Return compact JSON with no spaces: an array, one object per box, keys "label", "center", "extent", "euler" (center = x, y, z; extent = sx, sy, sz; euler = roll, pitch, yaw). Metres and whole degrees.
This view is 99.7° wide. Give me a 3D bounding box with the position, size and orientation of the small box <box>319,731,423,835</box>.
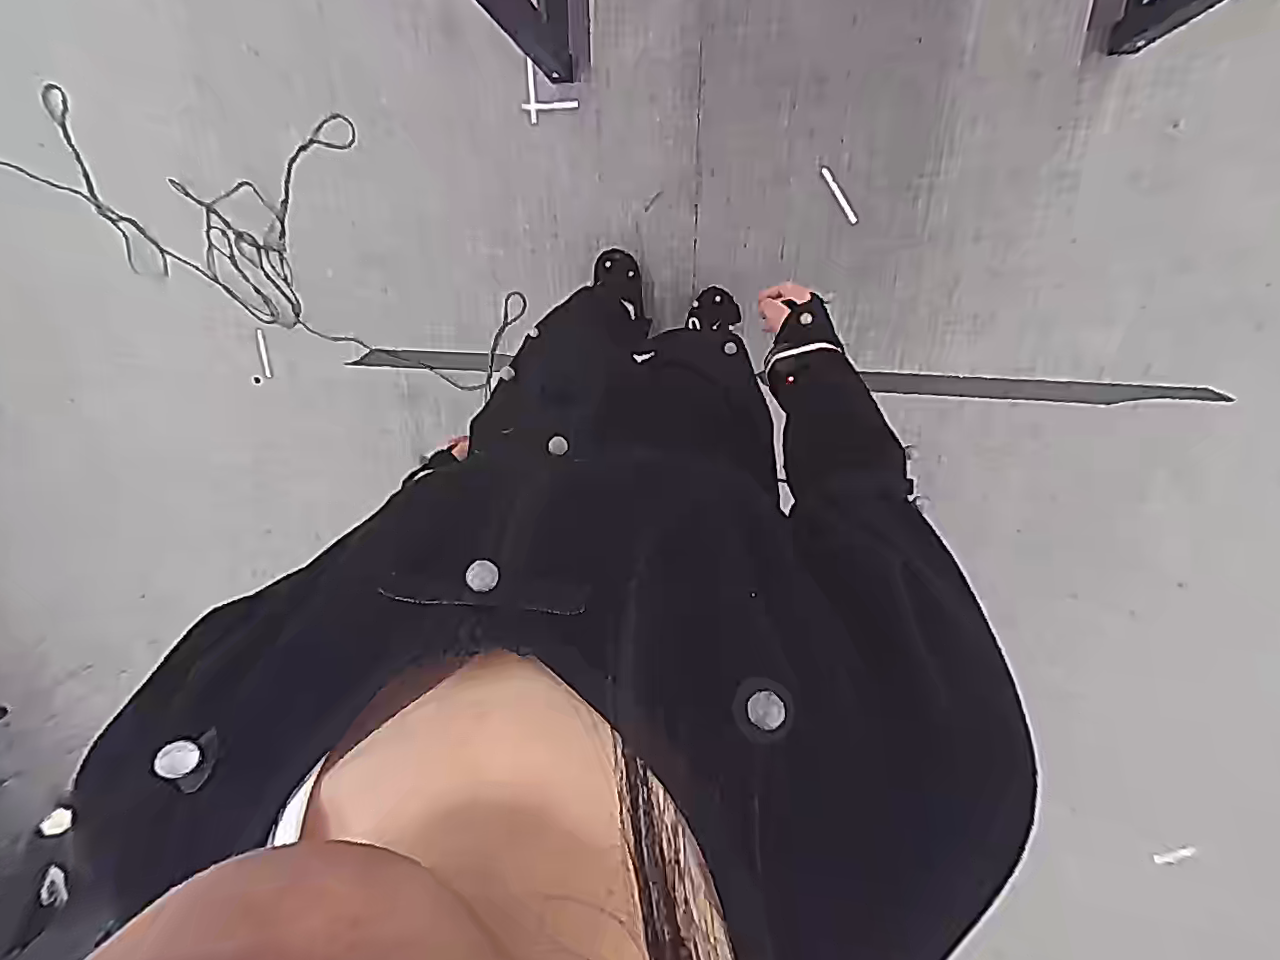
[{"label":"small box","center":[-0.773,0.875,1.571],"extent":[0.179,0.176,0.168],"euler":[-38,99,19]}]
